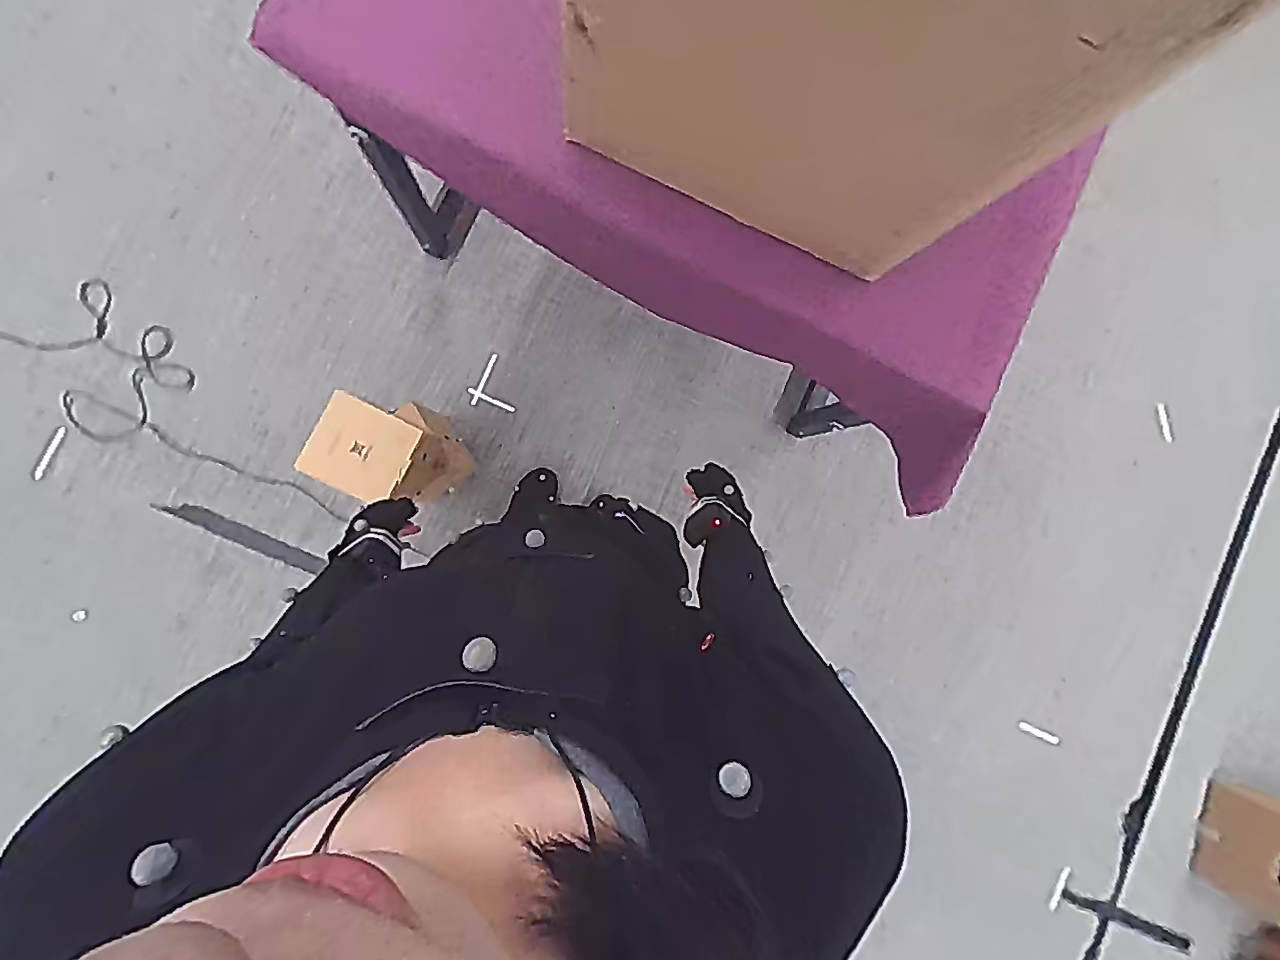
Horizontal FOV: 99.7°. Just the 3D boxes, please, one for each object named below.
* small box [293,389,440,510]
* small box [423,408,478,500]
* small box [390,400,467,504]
[{"bbox_3d":[-0.517,-0.054,1.054,0.179,0.176,0.168,27,85,-6],"label":"small box"},{"bbox_3d":[-0.540,-0.058,1.381,0.168,0.176,0.179,-34,94,-7],"label":"small box"},{"bbox_3d":[-0.517,-0.054,1.219,0.168,0.176,0.179,-32,93,-6],"label":"small box"}]
